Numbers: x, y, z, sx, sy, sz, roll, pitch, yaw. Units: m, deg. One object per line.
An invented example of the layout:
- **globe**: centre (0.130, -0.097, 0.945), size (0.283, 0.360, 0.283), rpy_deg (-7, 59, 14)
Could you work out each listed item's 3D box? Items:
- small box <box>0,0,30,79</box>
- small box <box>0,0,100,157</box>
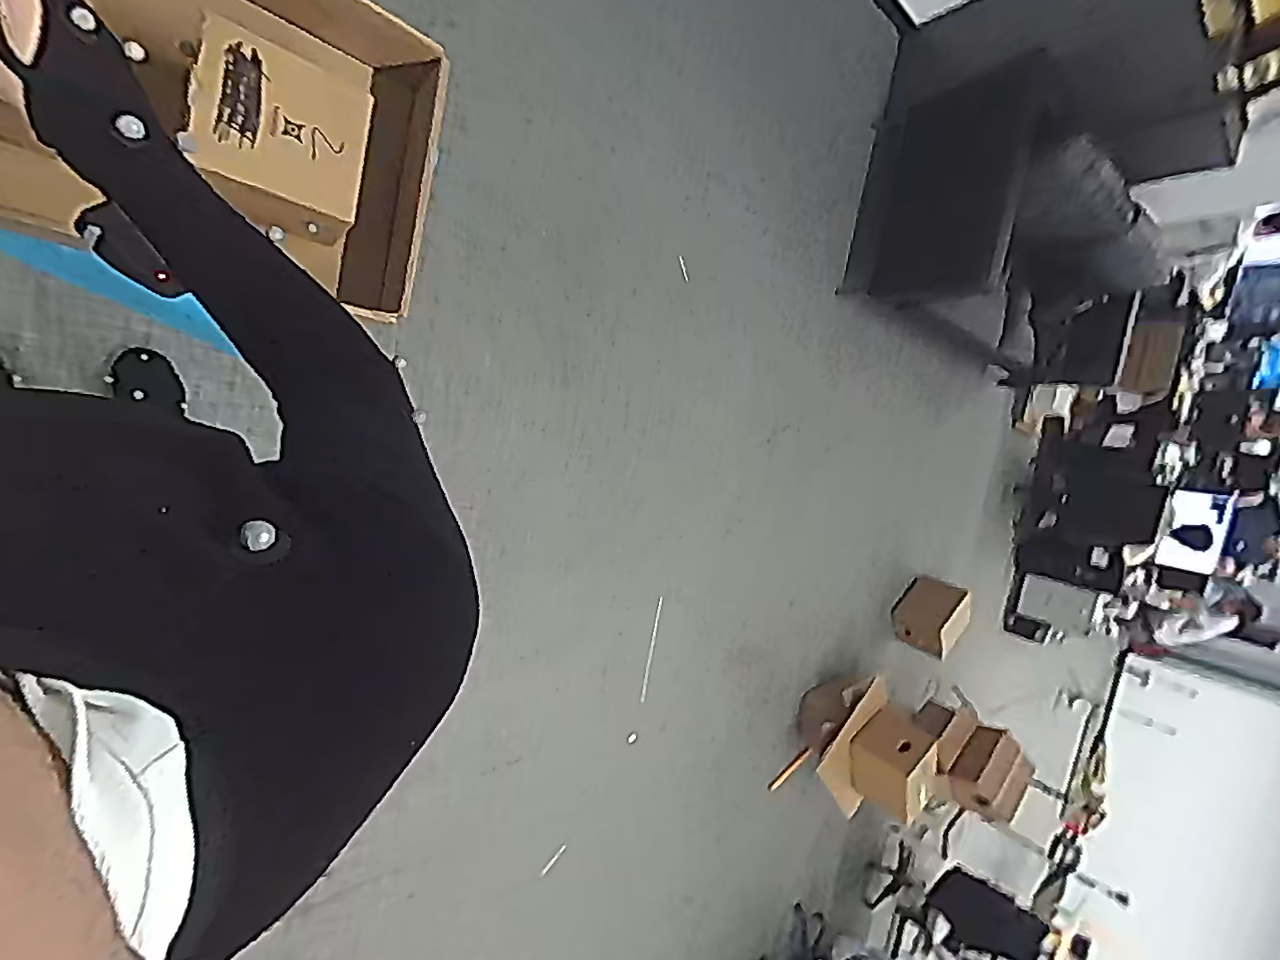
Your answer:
- **small box**: centre (-0.557, -0.422, 0.362), size (0.168, 0.176, 0.179), rpy_deg (-8, 104, -39)
- **small box**: centre (-0.671, -0.467, 0.537), size (0.168, 0.176, 0.179), rpy_deg (9, 93, -39)
